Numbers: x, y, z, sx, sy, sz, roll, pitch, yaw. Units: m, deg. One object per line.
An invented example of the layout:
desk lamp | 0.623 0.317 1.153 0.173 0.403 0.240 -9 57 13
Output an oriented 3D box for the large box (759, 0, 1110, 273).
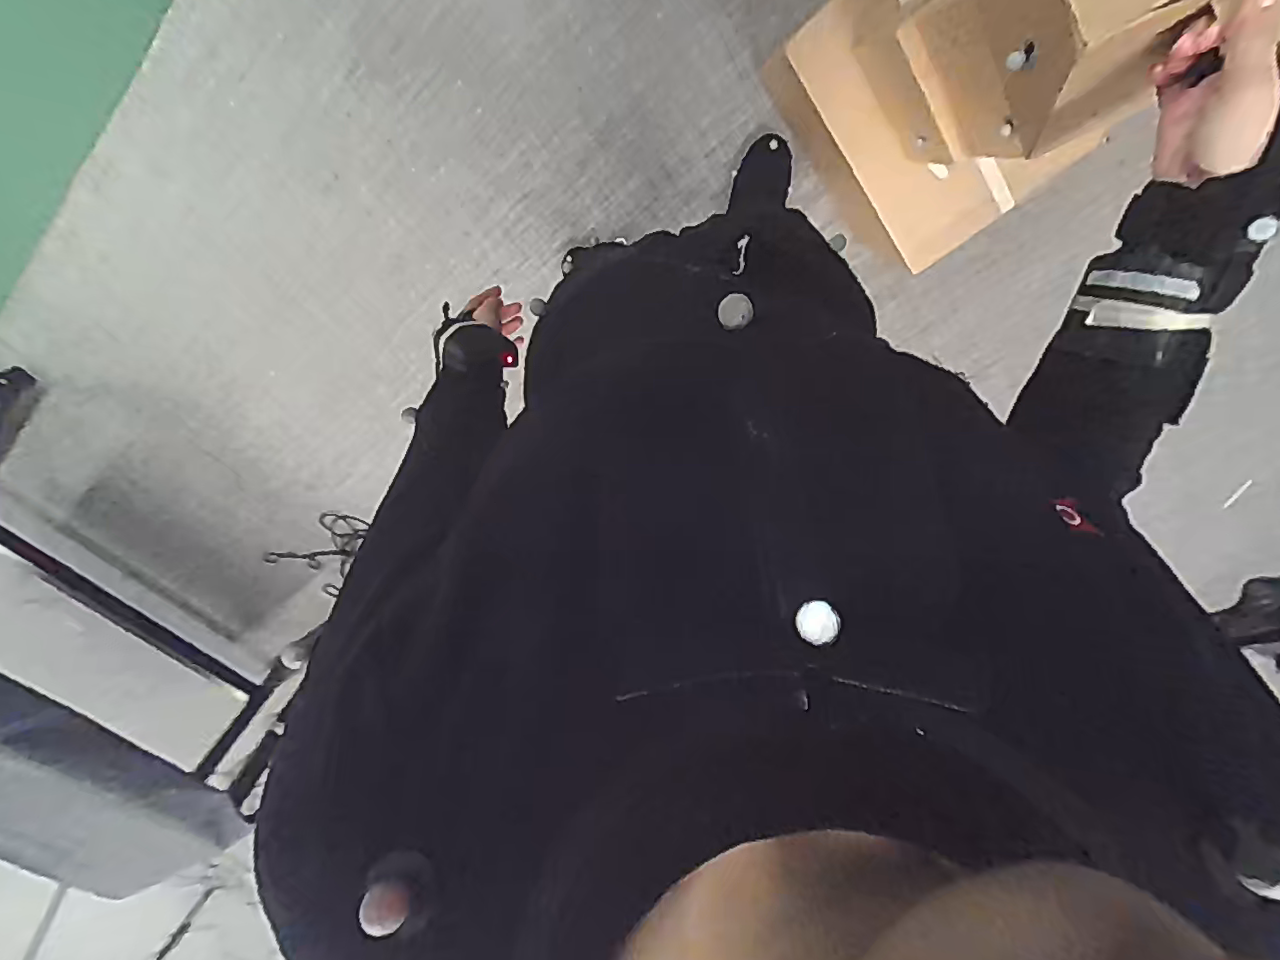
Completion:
large box | 0.455 -0.635 0.906 0.320 0.320 0.408 -35 114 23

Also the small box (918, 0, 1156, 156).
small box | 0.413 -0.456 0.541 0.168 0.176 0.179 -31 115 21

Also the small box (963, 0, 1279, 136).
small box | 0.318 -0.358 0.341 0.168 0.176 0.179 -19 88 28
